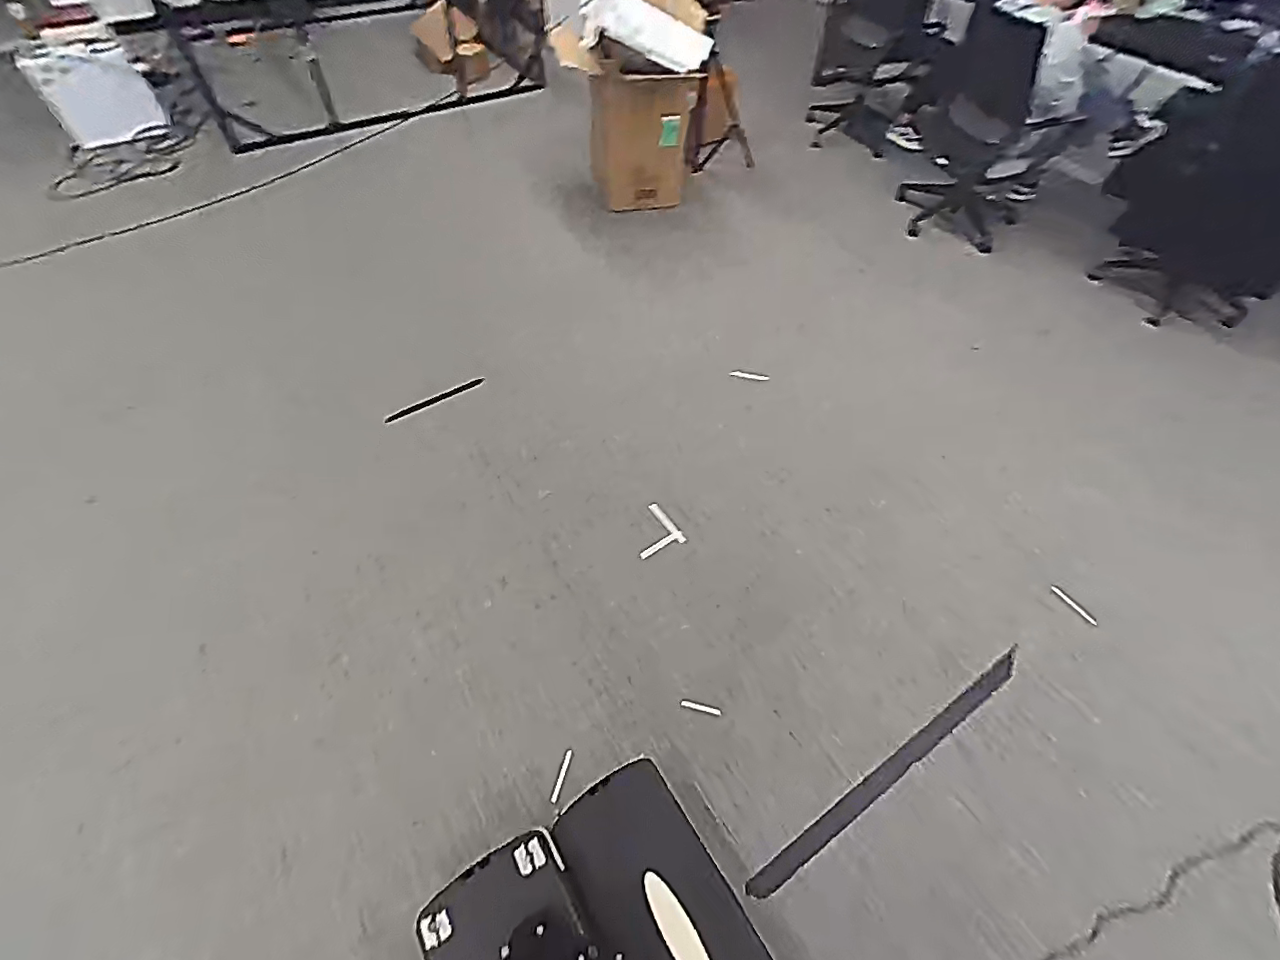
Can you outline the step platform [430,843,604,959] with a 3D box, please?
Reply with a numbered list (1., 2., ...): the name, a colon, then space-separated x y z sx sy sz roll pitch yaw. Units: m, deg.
1. step platform: -0.147 1.079 0.992 0.286 0.204 0.684 -23 56 -19
